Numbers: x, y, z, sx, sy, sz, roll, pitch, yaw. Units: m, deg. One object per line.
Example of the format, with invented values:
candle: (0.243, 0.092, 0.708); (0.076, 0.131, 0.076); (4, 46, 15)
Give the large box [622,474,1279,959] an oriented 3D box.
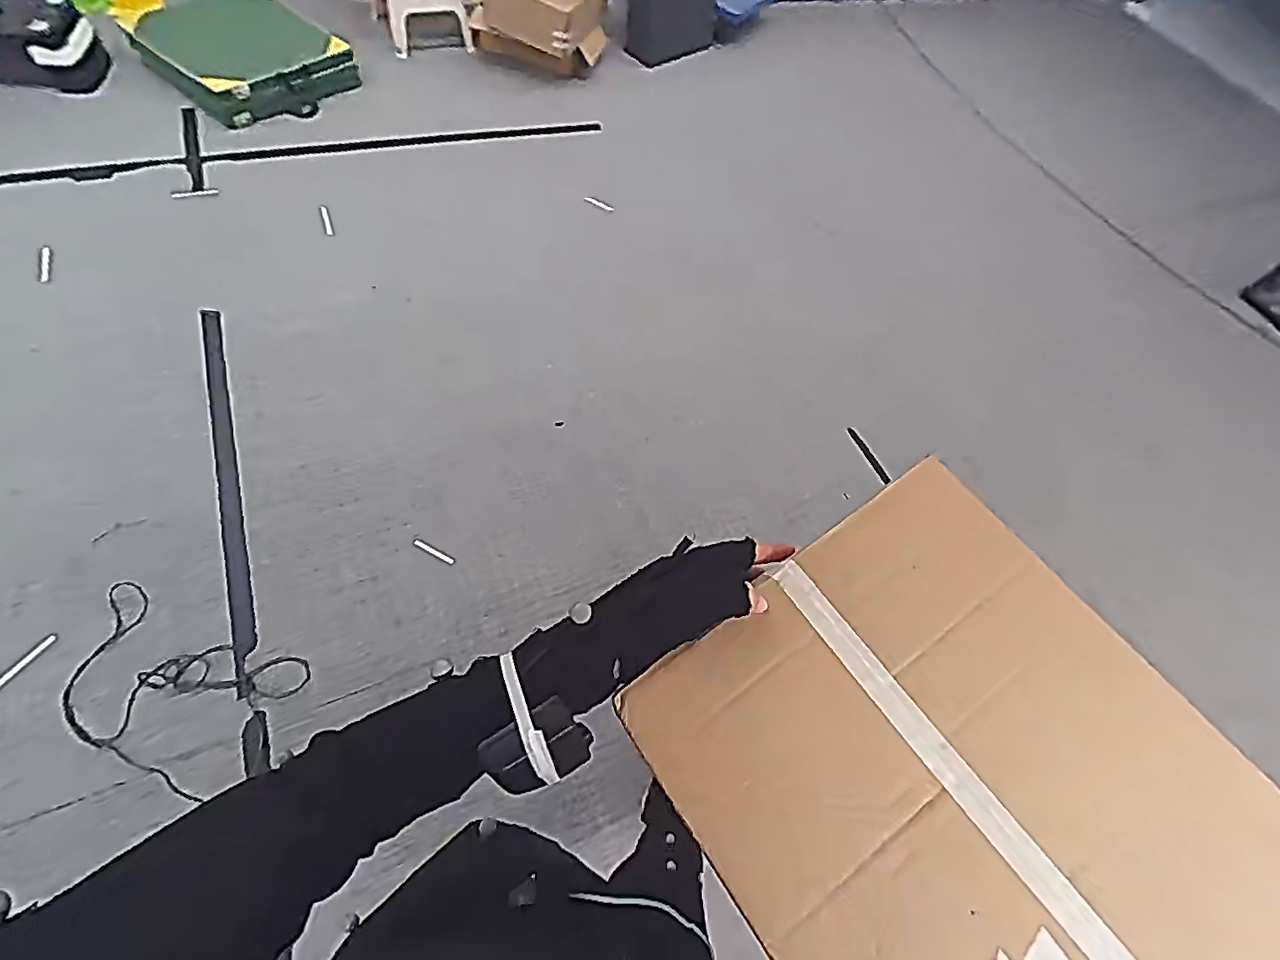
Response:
large box: (0.226, 0.276, 0.490); (0.320, 0.320, 0.408); (-34, 70, -11)
